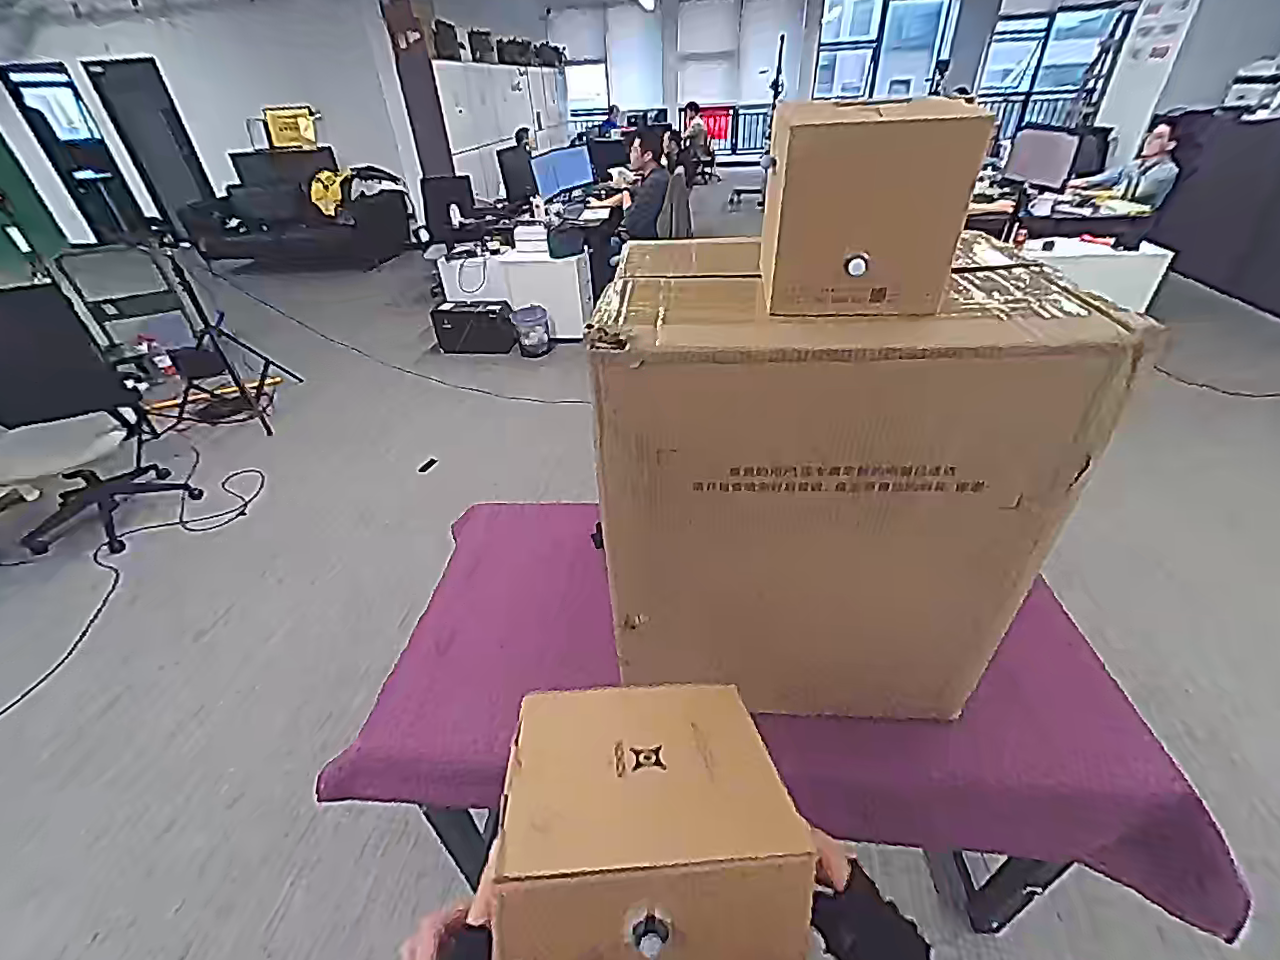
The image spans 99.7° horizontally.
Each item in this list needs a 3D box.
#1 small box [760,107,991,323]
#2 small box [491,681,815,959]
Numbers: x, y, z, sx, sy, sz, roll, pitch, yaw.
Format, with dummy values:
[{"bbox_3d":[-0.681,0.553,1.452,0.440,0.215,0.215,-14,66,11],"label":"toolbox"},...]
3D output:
[{"bbox_3d":[0.216,-0.275,0.558,0.168,0.176,0.179,2,39,8],"label":"small box"},{"bbox_3d":[0.001,0.261,0.373,0.179,0.176,0.168,1,12,-6],"label":"small box"}]
